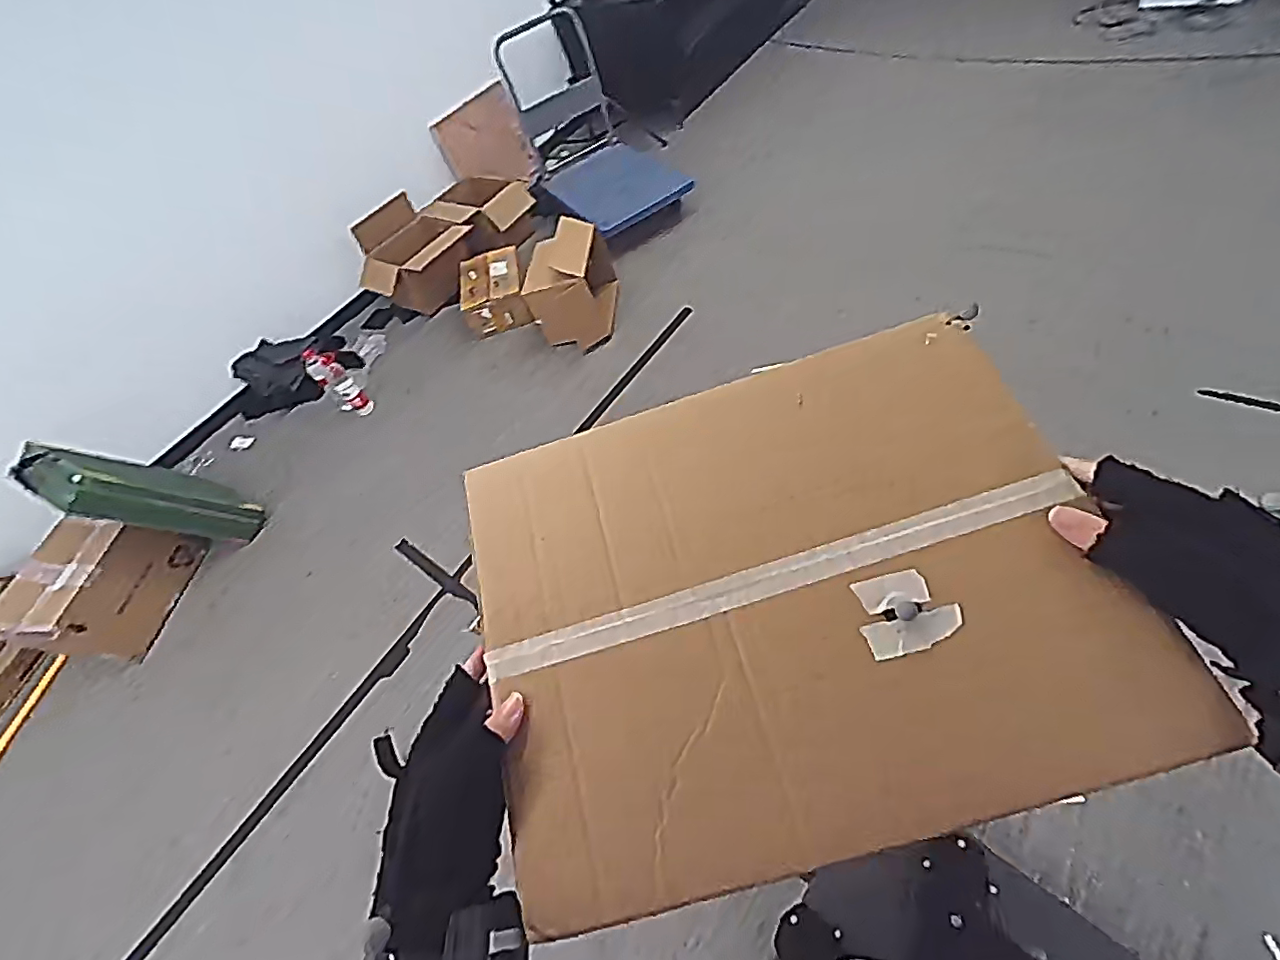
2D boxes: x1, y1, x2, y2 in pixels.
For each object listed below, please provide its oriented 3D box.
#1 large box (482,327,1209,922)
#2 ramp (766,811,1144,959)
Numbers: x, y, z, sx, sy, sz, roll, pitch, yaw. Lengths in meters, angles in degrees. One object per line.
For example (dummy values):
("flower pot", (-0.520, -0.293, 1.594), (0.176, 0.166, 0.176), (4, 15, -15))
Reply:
("large box", (0.119, 0.130, 0.508), (0.408, 0.320, 0.320), (-18, 64, 3))
("ramp", (0.757, 1.046, 0.942), (0.991, 0.206, 0.509), (26, 66, 30))
